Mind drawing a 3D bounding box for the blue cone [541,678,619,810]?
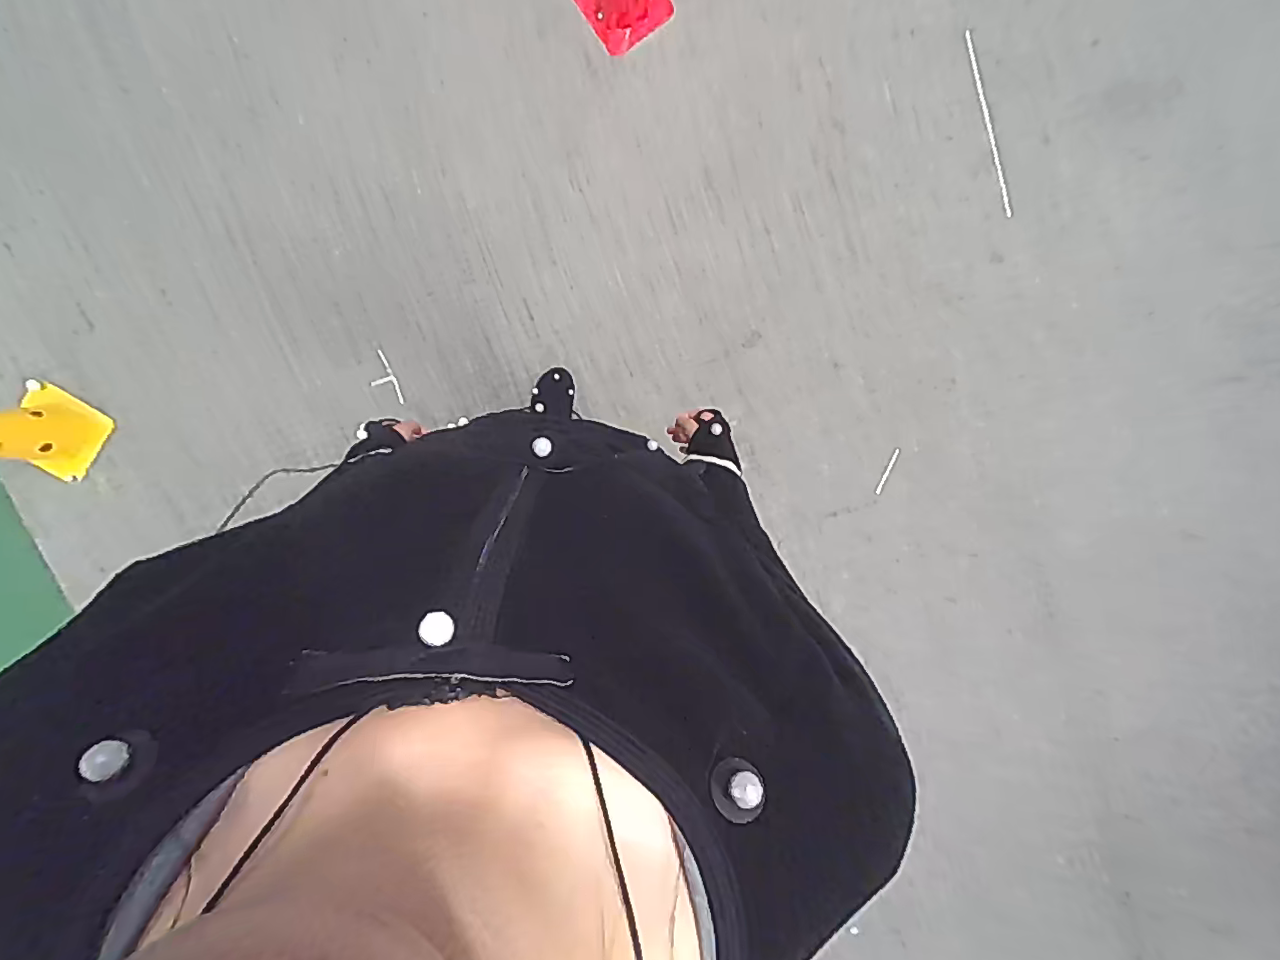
[{"bbox_3d":[-0.150,0.700,1.411,0.193,0.380,0.192,25,94,-10],"label":"blue cone"}]
